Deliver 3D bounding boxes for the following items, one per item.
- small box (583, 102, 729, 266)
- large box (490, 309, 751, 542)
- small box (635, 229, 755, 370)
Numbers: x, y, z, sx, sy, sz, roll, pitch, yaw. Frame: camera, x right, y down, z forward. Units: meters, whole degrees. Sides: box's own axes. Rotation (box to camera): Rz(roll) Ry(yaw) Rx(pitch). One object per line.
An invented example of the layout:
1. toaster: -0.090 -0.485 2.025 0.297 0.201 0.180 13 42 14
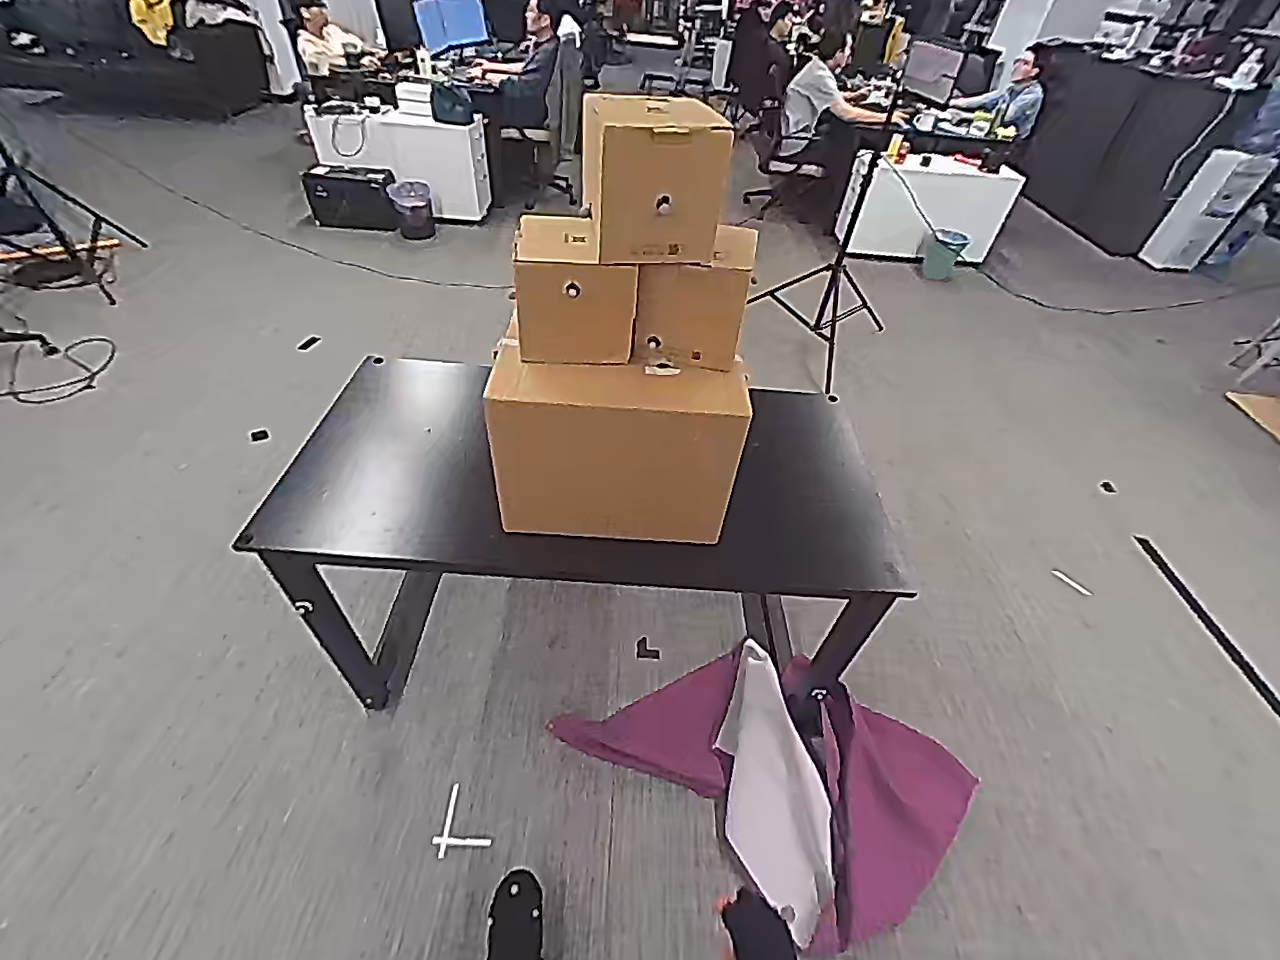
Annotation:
1. small box: 0.011 -0.417 0.769 0.168 0.176 0.179 -5 46 -12
2. large box: -0.044 -0.098 1.018 0.408 0.320 0.320 3 45 -4
3. small box: 0.089 -0.301 0.892 0.168 0.176 0.179 11 43 6
